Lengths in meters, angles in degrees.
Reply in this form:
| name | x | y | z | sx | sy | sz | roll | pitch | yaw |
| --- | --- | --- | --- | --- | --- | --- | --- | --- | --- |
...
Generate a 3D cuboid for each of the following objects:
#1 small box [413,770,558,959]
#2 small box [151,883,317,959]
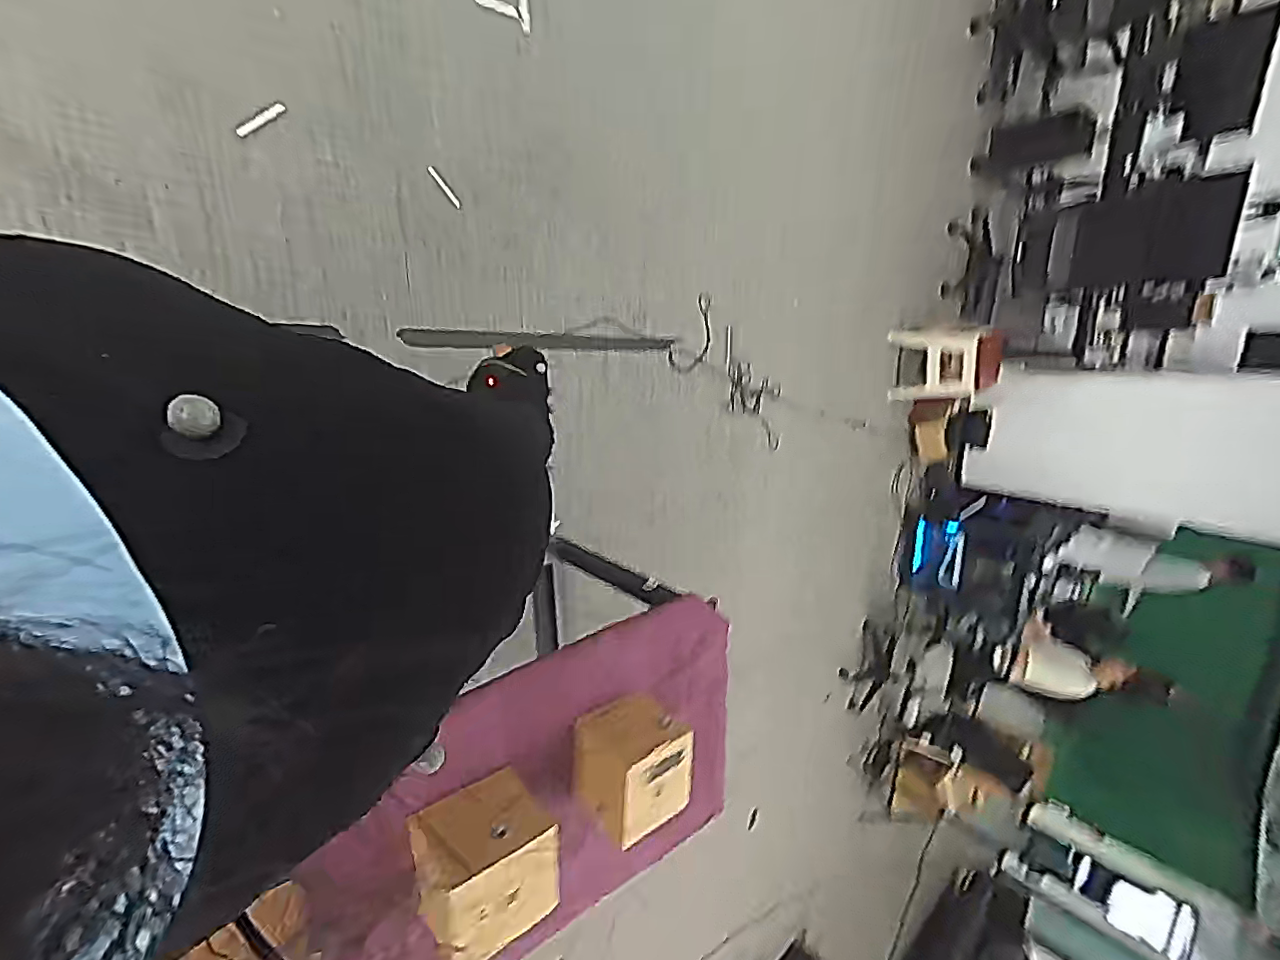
| name | x | y | z | sx | sy | sz | roll | pitch | yaw |
| --- | --- | --- | --- | --- | --- | --- | --- | --- | --- |
| small box | -0.252 | 0.619 | 0.884 | 0.179 | 0.176 | 0.168 | -9 | 106 | -39 |
| small box | -0.507 | 0.669 | 0.671 | 0.179 | 0.176 | 0.168 | -9 | 107 | -41 |
